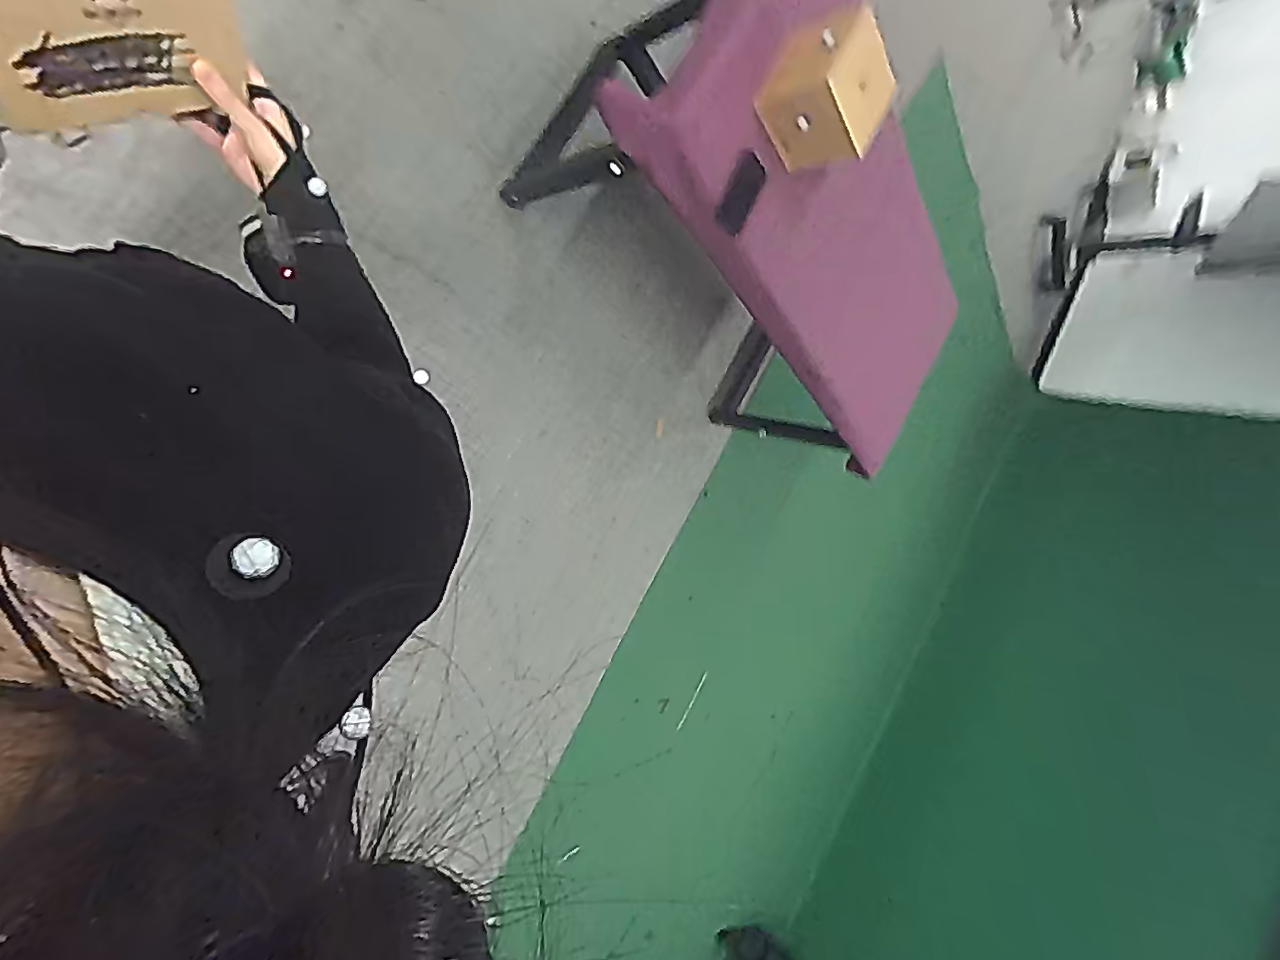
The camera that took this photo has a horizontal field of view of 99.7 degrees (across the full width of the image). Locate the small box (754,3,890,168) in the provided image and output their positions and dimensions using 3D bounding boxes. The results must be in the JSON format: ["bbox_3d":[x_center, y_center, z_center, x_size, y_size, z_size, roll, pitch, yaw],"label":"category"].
[{"bbox_3d":[0.343,-0.739,1.038,0.168,0.176,0.179,35,79,-42],"label":"small box"}]
